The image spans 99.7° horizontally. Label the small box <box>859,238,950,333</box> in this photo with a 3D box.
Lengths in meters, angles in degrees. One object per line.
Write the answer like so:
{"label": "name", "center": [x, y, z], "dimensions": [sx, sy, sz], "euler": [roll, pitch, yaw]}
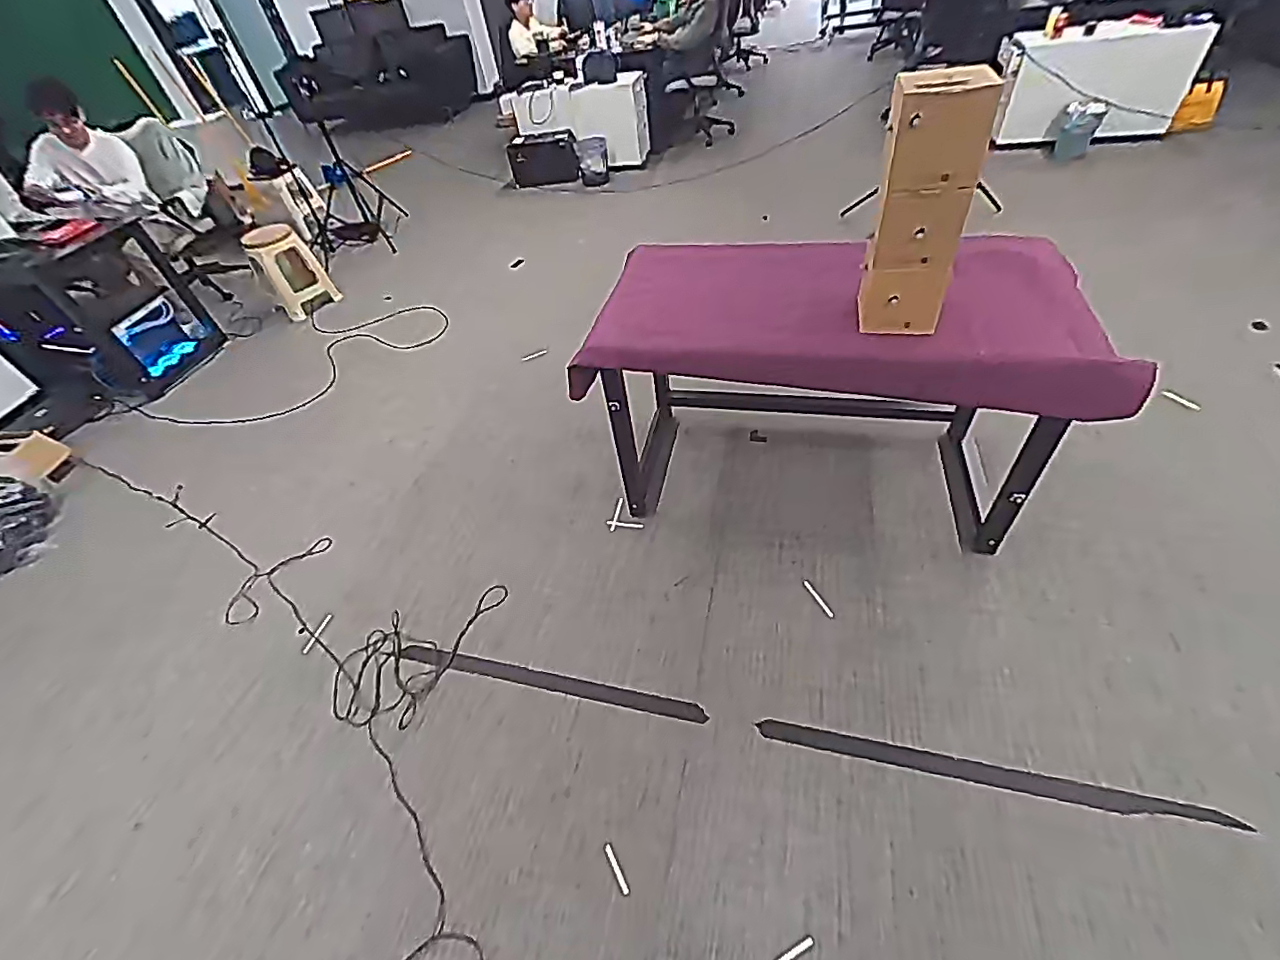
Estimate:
{"label": "small box", "center": [0.633, -0.471, 1.311], "dimensions": [0.168, 0.176, 0.179], "euler": [5, 48, 15]}

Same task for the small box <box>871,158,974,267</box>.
{"label": "small box", "center": [0.614, -0.586, 1.196], "dimensions": [0.168, 0.176, 0.179], "euler": [6, 48, 15]}
